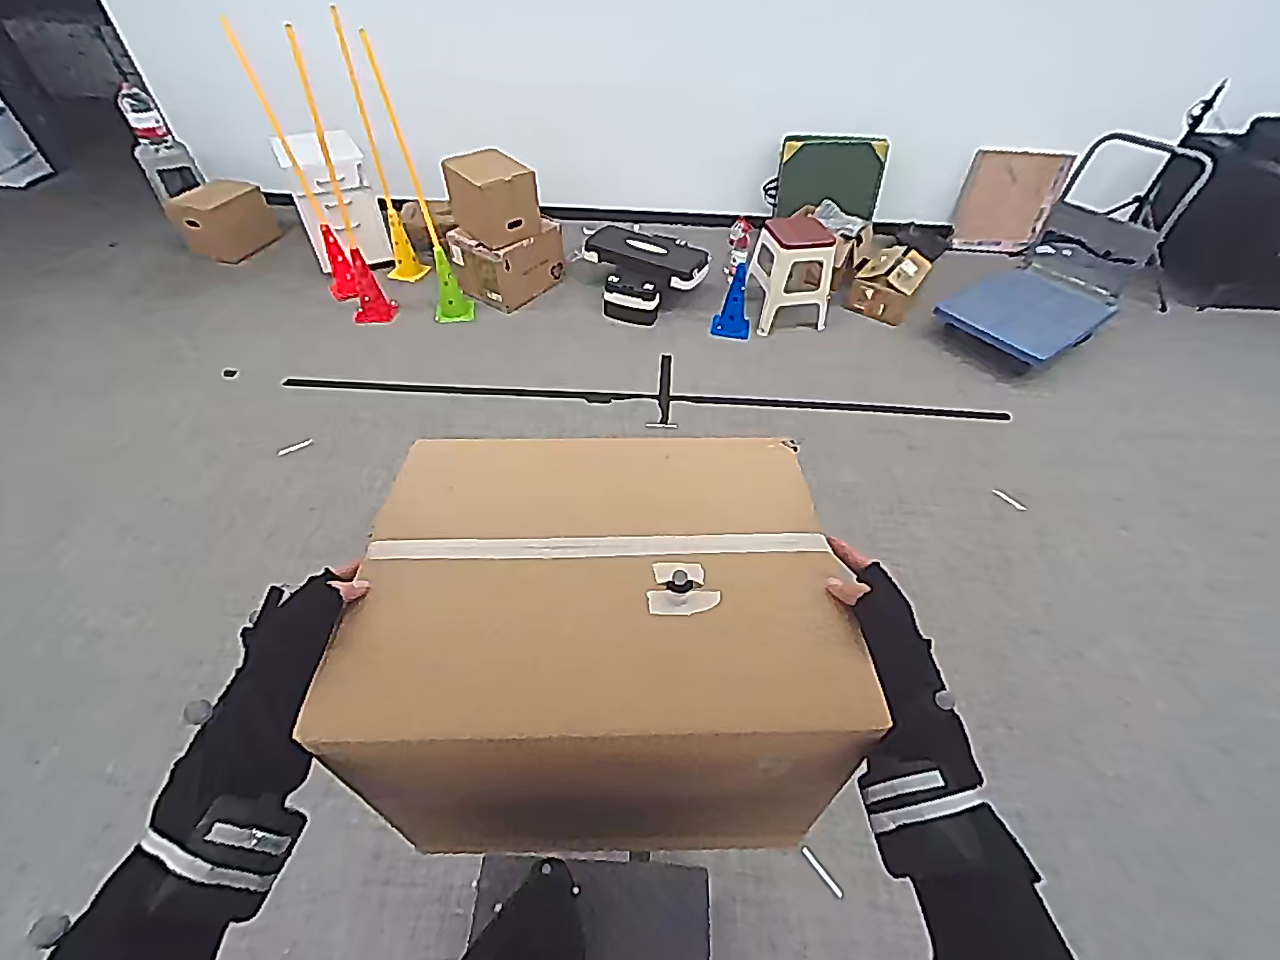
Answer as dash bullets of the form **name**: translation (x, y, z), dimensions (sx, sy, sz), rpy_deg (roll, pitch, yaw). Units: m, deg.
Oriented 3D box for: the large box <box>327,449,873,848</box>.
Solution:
- **large box**: translation (-0.033, 0.180, 0.595), dimensions (0.408, 0.320, 0.320), rpy_deg (0, 44, -1)
